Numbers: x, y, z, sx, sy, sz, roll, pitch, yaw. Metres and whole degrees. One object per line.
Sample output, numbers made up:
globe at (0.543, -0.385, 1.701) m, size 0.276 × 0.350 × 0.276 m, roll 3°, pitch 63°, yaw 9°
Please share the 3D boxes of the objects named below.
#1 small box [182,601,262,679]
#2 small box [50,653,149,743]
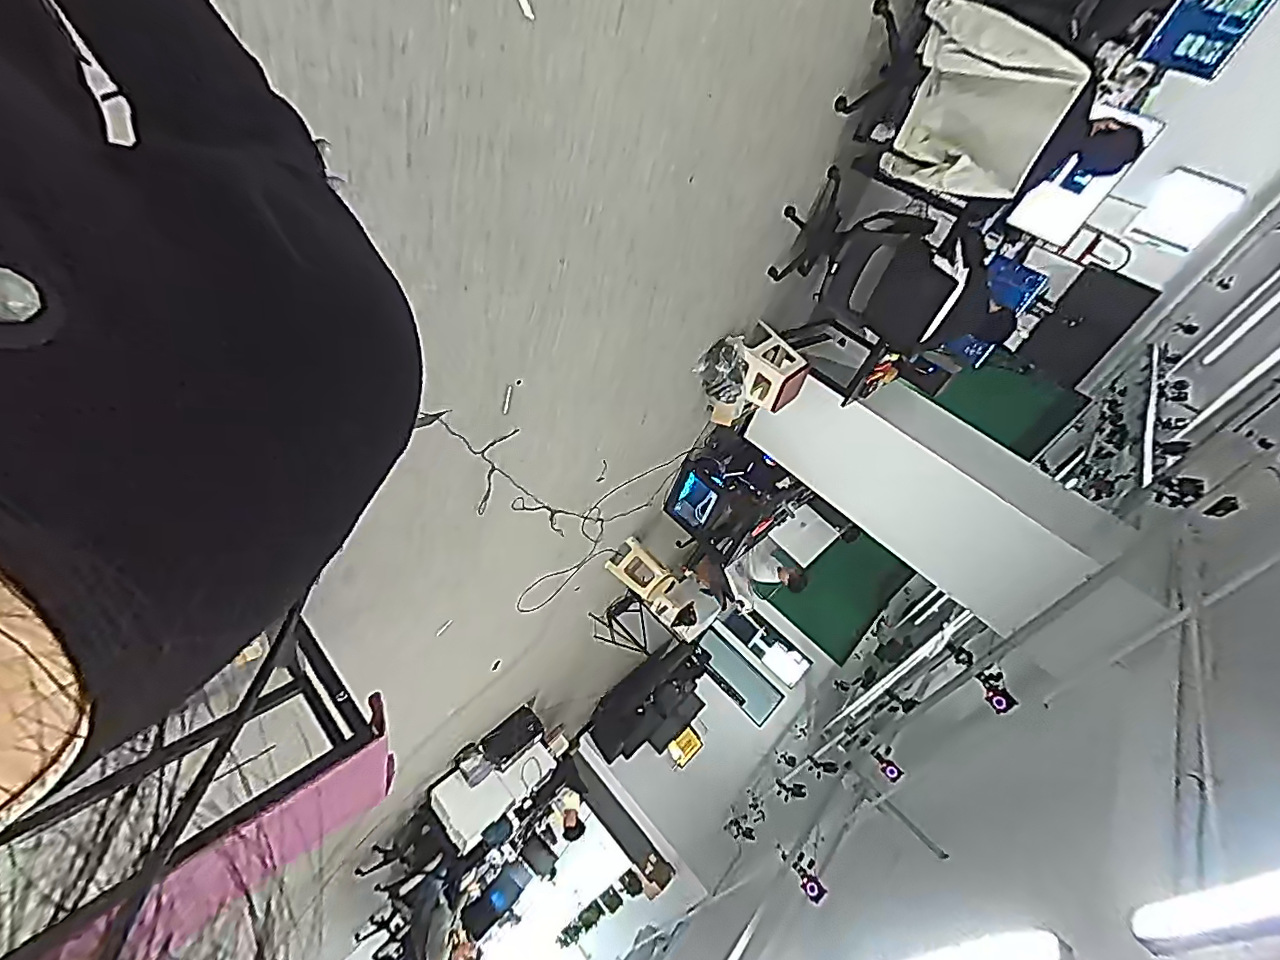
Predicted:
small box at (-1.457, 0.547, 1.885) m, size 0.168 × 0.176 × 0.179 m, roll -25°, pitch 150°, yaw -44°
small box at (-1.676, 0.666, 1.678) m, size 0.168 × 0.176 × 0.179 m, roll -24°, pitch 148°, yaw -44°
